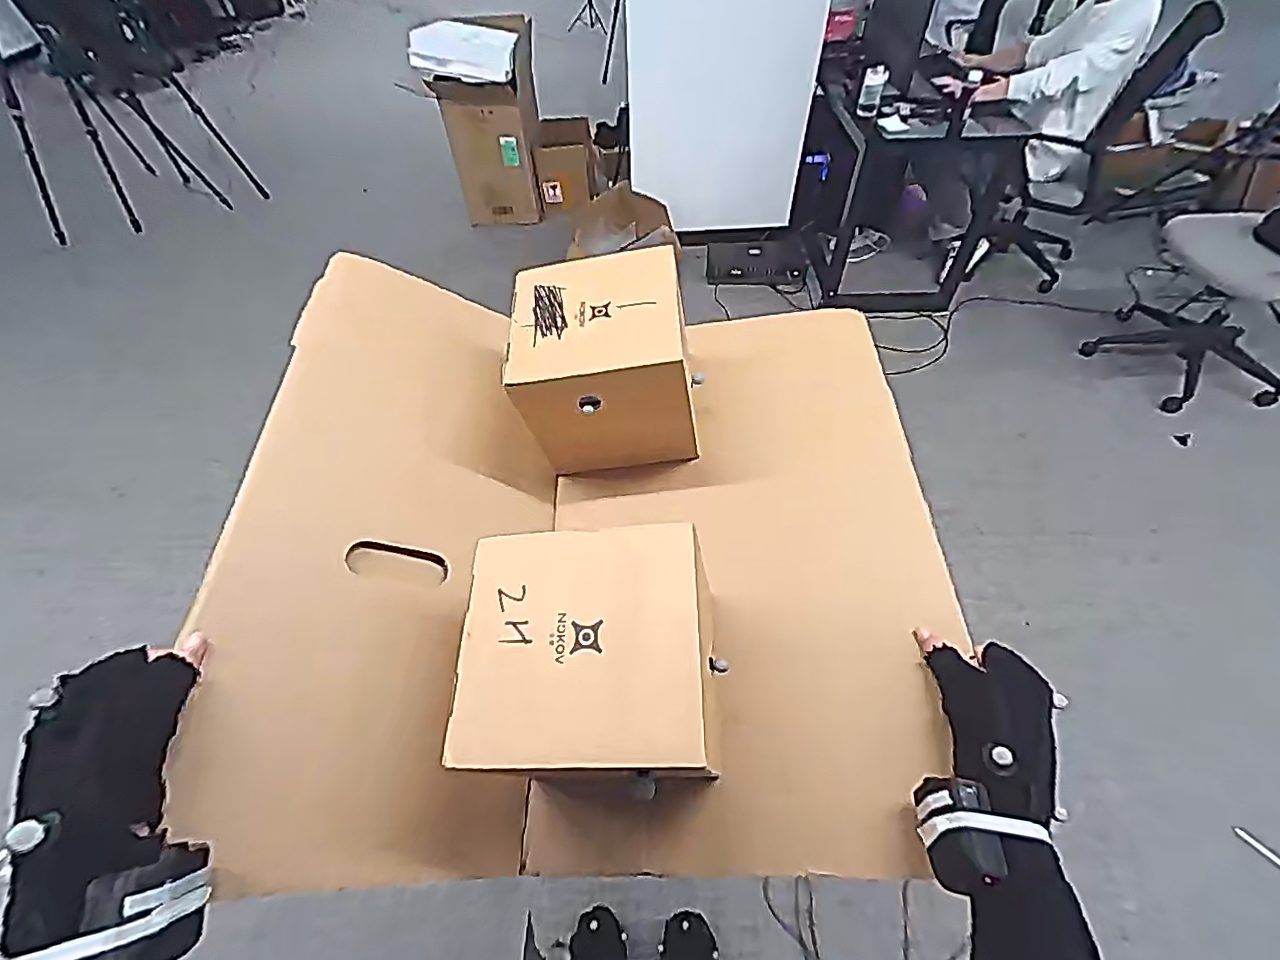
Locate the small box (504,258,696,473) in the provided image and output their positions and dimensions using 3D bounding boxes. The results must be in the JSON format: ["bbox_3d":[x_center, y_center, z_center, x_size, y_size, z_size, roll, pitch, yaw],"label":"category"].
[{"bbox_3d":[-0.035,-0.121,0.622,0.179,0.176,0.168,-6,59,8],"label":"small box"}]

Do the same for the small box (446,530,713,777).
[{"bbox_3d":[-0.030,0.154,0.458,0.179,0.176,0.168,-5,59,10],"label":"small box"}]
